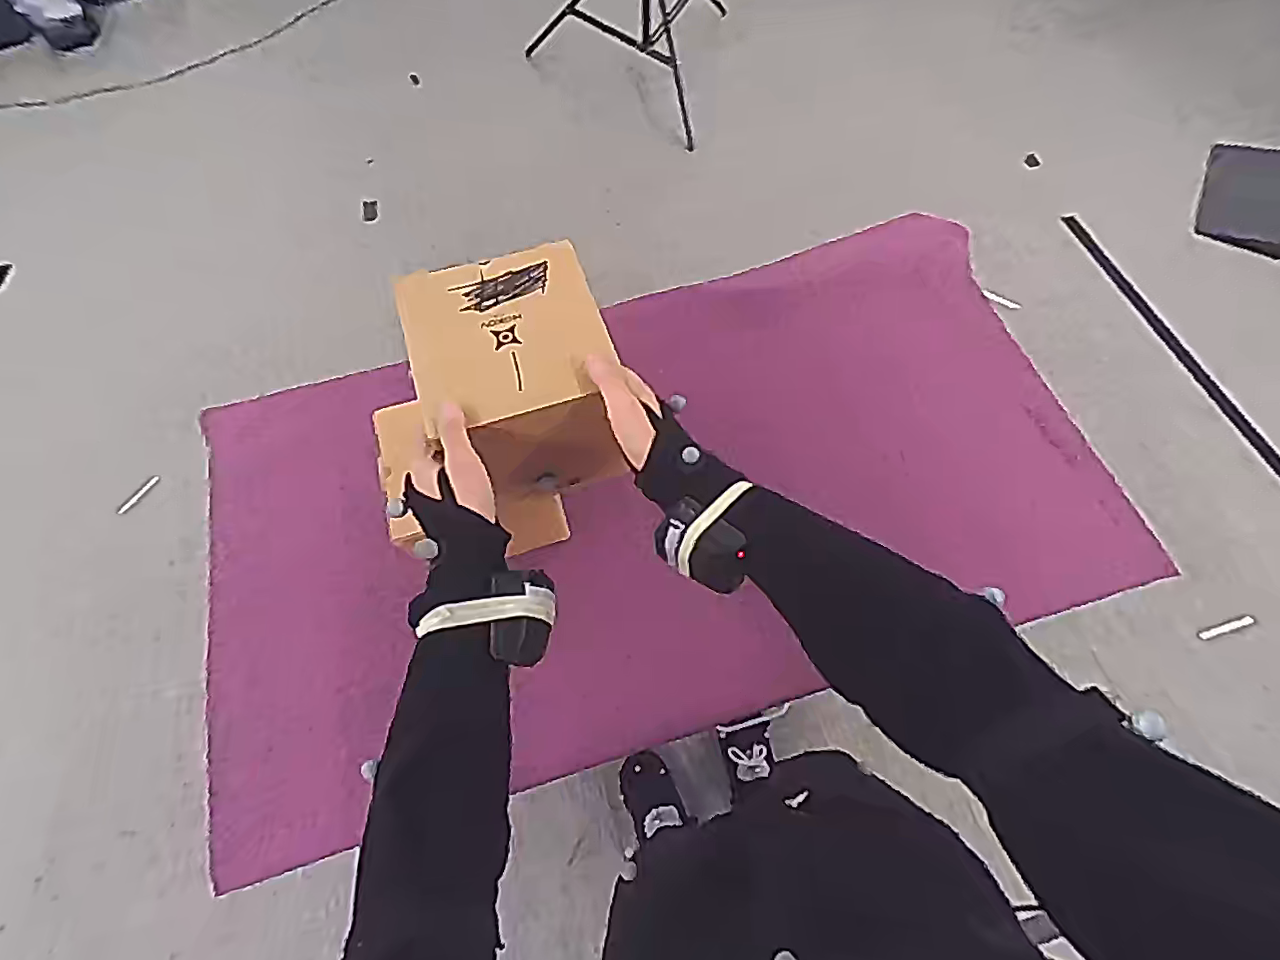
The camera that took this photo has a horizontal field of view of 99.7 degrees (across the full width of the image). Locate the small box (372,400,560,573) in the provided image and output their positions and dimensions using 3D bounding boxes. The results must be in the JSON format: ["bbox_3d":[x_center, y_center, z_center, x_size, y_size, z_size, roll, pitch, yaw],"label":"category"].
[{"bbox_3d":[-0.206,0.003,0.683,0.179,0.176,0.168,-17,68,-6],"label":"small box"}]

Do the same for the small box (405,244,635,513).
[{"bbox_3d":[-0.109,-0.092,0.536,0.168,0.176,0.179,-18,67,-8],"label":"small box"}]
